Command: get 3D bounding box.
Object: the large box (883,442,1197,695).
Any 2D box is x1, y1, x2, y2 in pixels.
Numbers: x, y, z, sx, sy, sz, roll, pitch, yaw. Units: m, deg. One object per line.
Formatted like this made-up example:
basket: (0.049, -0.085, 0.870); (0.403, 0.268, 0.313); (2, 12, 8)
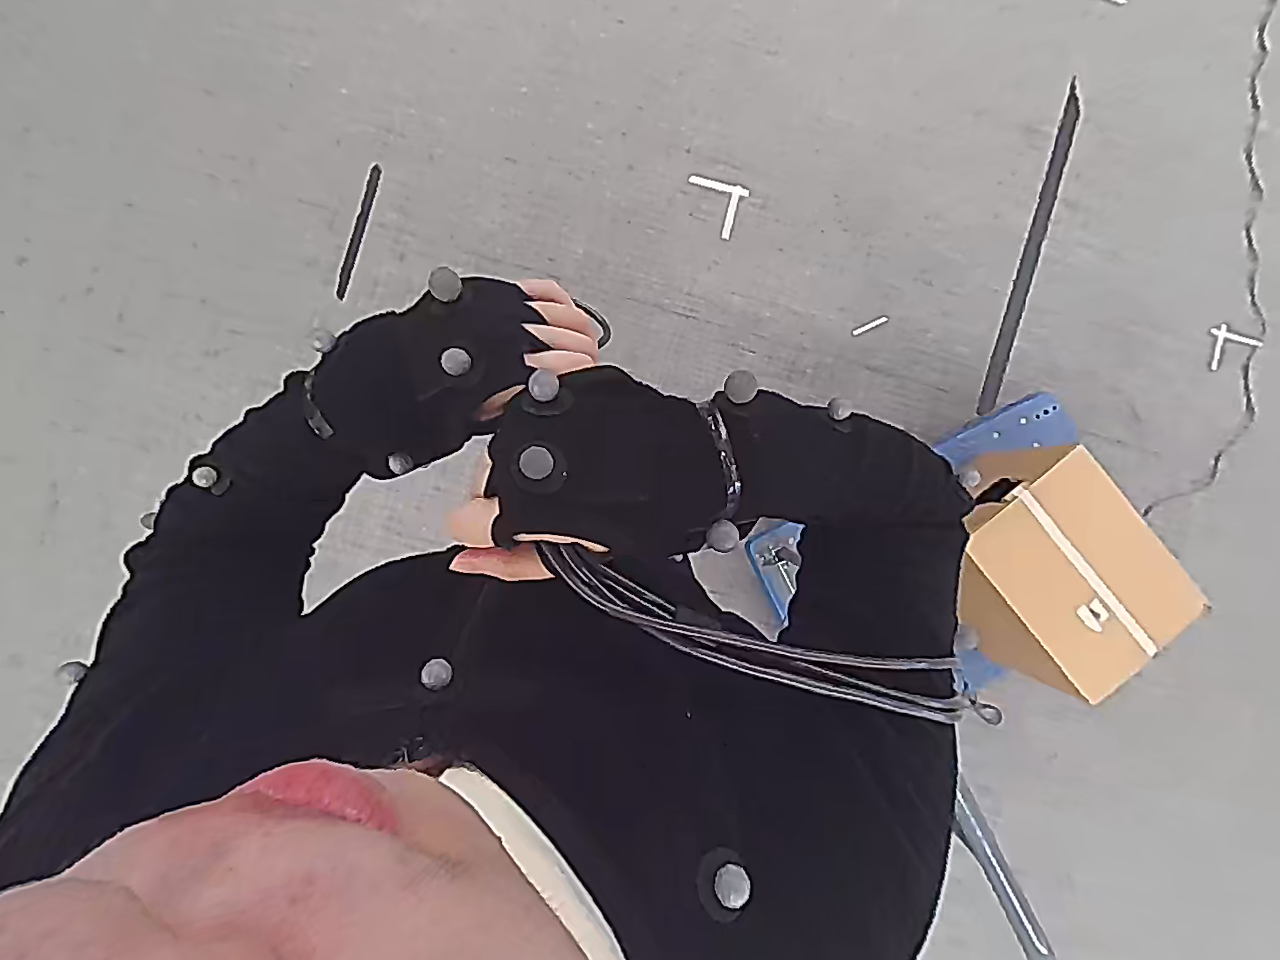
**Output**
large box: (0.839, 0.172, 1.193); (0.320, 0.320, 0.408); (-39, 91, -2)
